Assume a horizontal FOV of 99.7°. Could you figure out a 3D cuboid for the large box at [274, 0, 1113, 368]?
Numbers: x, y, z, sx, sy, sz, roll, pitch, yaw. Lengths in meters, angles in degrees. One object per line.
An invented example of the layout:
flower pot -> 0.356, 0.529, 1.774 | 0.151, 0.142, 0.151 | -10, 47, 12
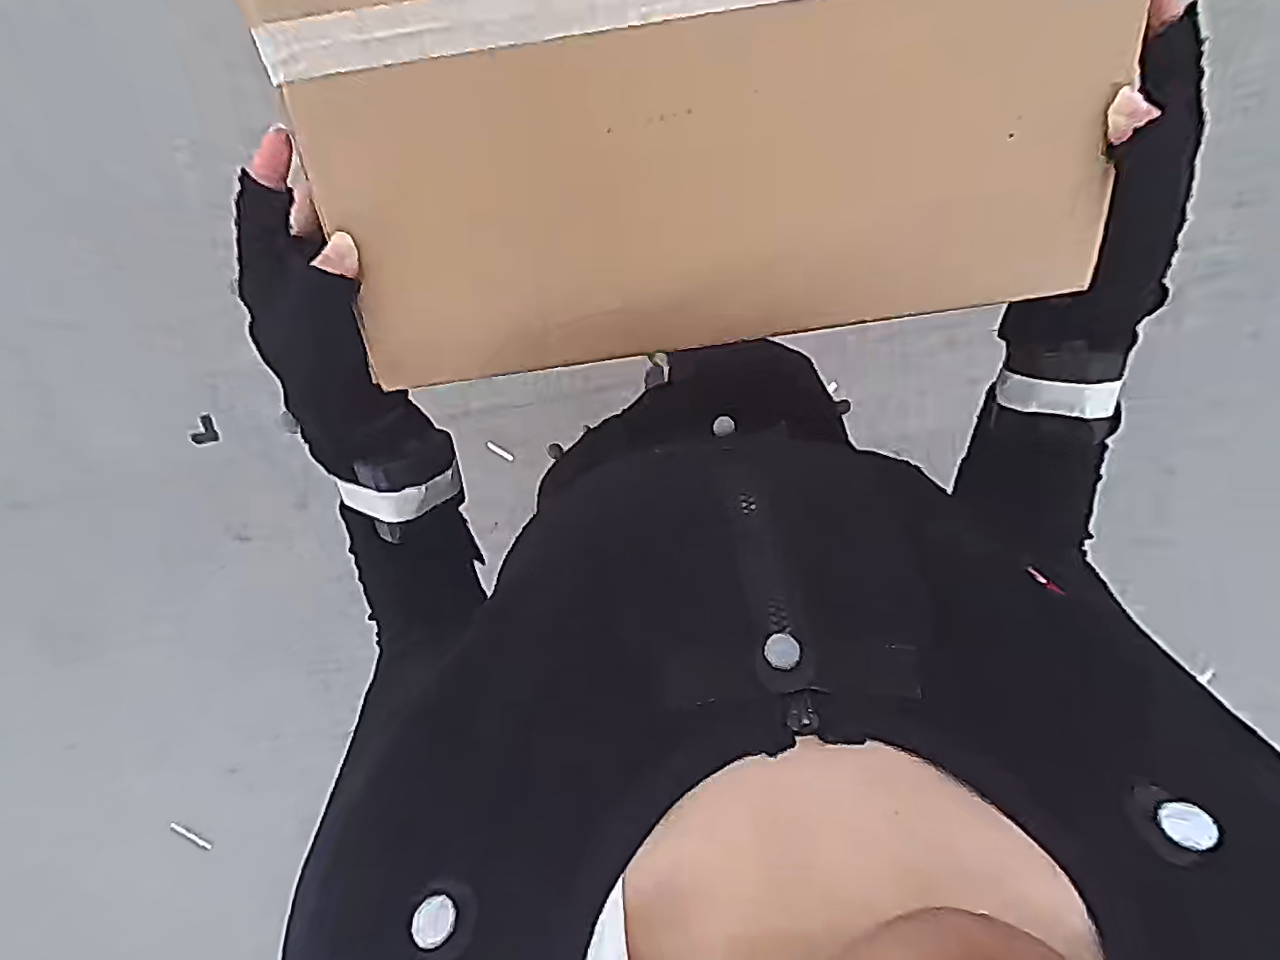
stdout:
large box -> 0.020, -0.292, 0.390 | 0.408, 0.320, 0.320 | -9, 114, 1
